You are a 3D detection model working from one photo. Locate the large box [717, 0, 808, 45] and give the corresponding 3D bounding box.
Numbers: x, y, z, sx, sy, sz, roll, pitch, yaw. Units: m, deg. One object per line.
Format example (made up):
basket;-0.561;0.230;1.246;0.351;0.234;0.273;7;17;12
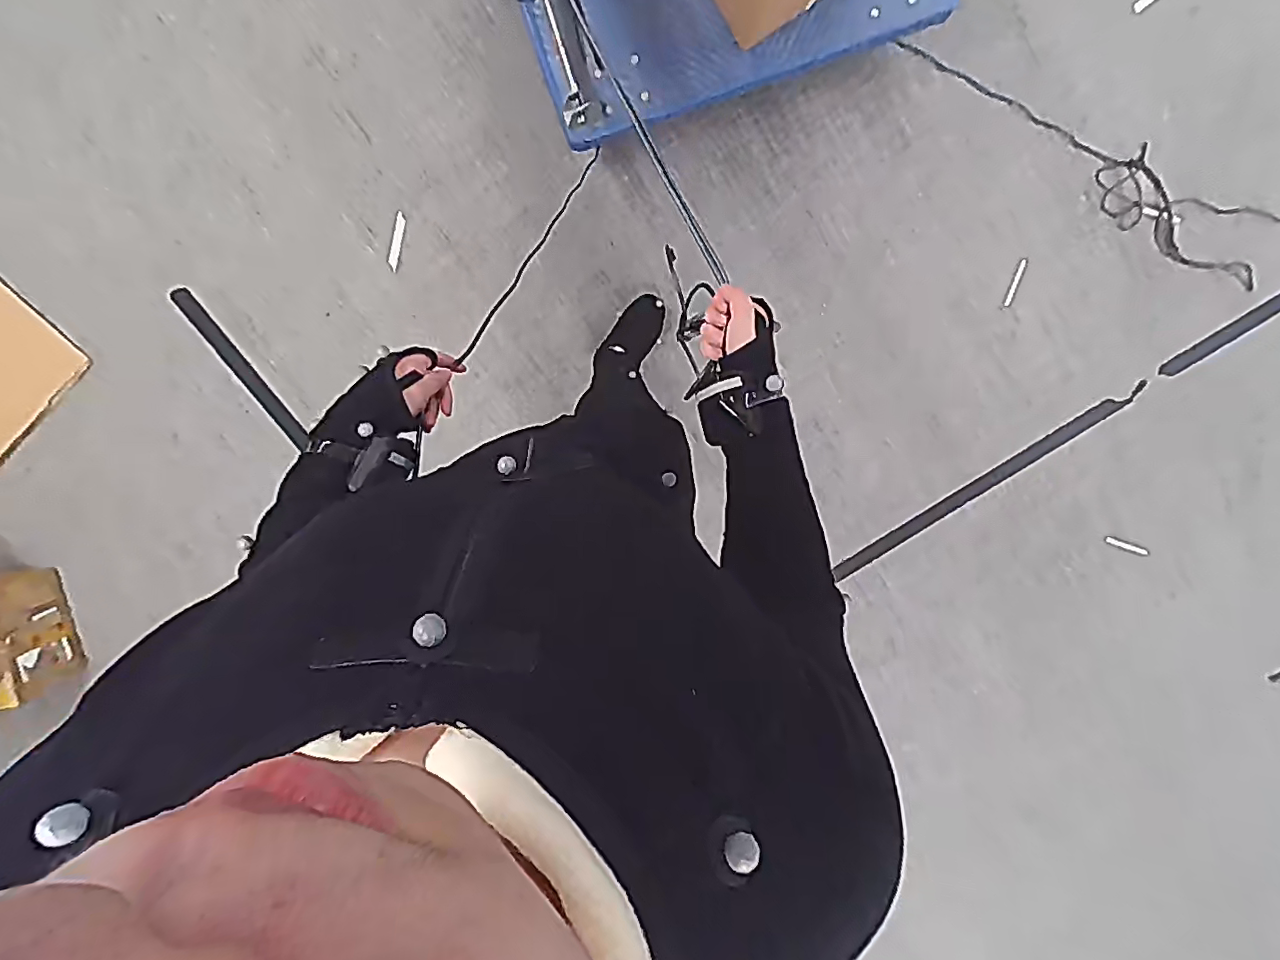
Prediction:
large box;0.233;-1.098;0.917;0.320;0.320;0.408;-33;103;6
